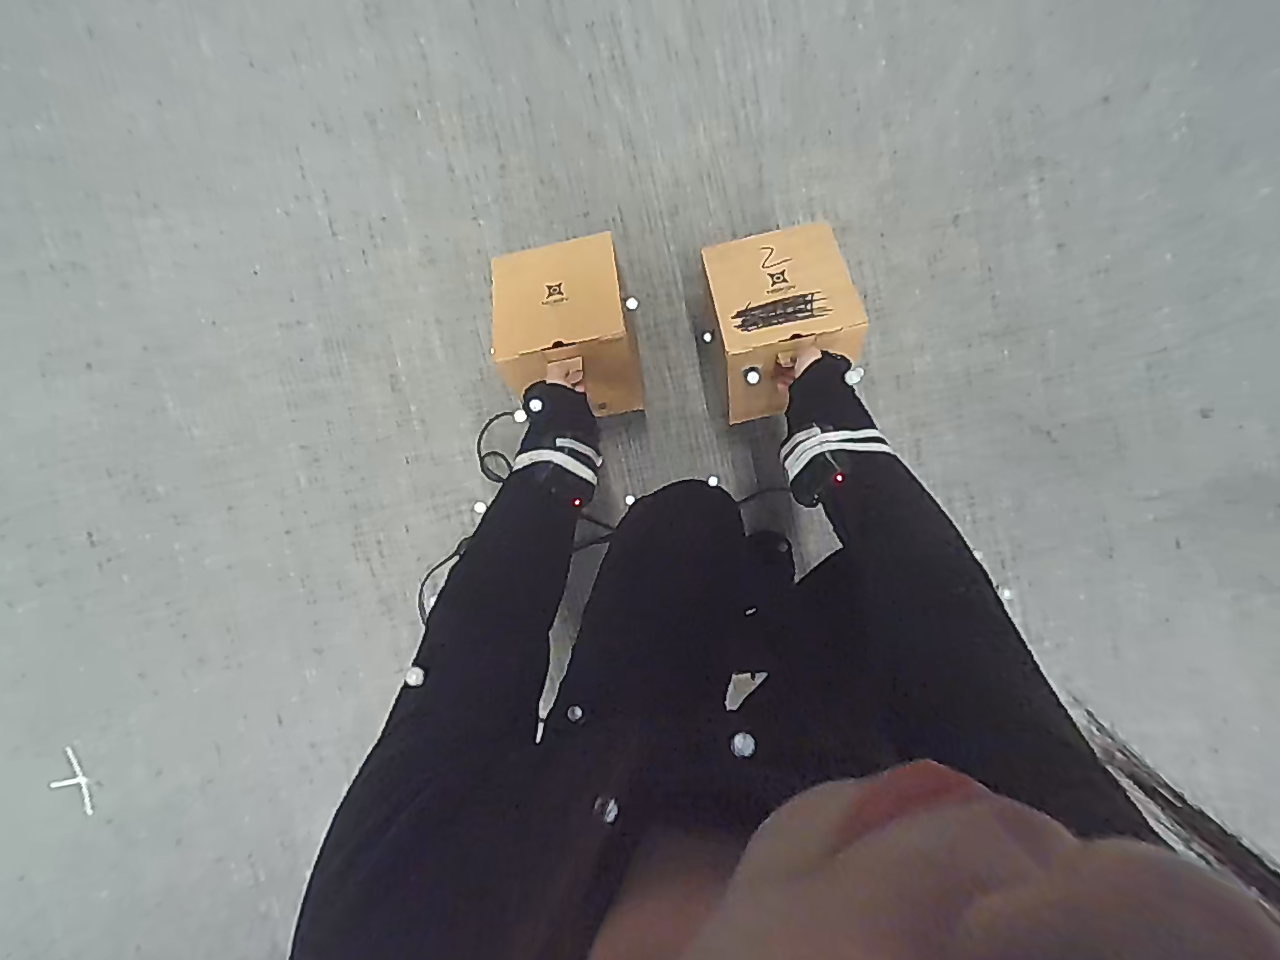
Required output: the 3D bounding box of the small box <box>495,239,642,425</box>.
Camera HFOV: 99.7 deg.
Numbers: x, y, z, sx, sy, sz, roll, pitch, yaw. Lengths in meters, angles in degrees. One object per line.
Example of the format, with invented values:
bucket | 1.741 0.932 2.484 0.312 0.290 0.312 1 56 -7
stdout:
small box | -0.095 -0.202 0.769 0.168 0.176 0.179 -10 65 5
